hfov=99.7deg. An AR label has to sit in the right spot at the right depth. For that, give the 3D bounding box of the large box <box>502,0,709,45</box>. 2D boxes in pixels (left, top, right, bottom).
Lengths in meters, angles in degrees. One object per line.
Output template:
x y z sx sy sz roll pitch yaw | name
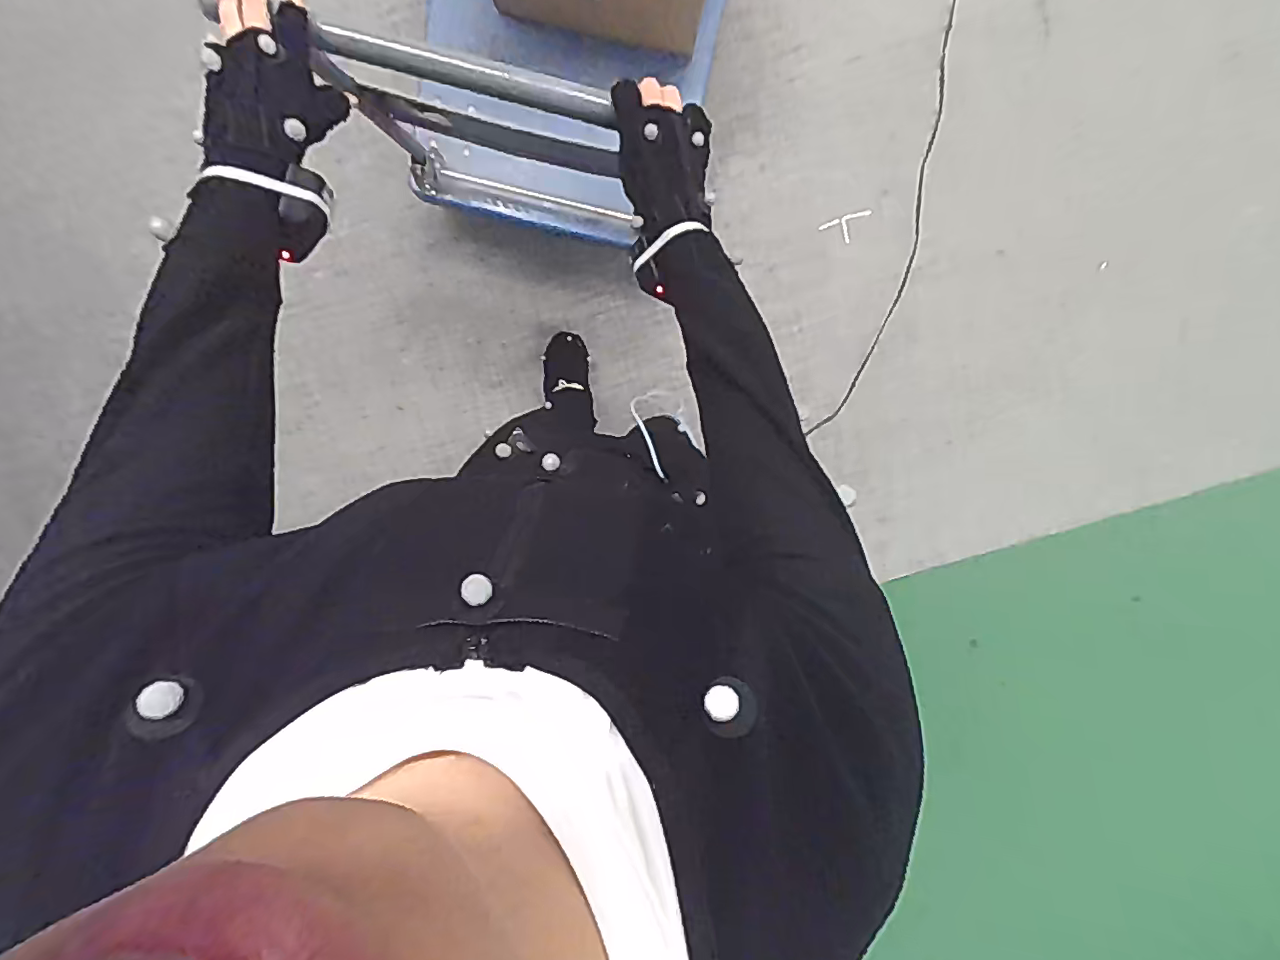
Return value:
-0.053 -1.021 0.914 0.408 0.320 0.320 10 101 -3 | large box
